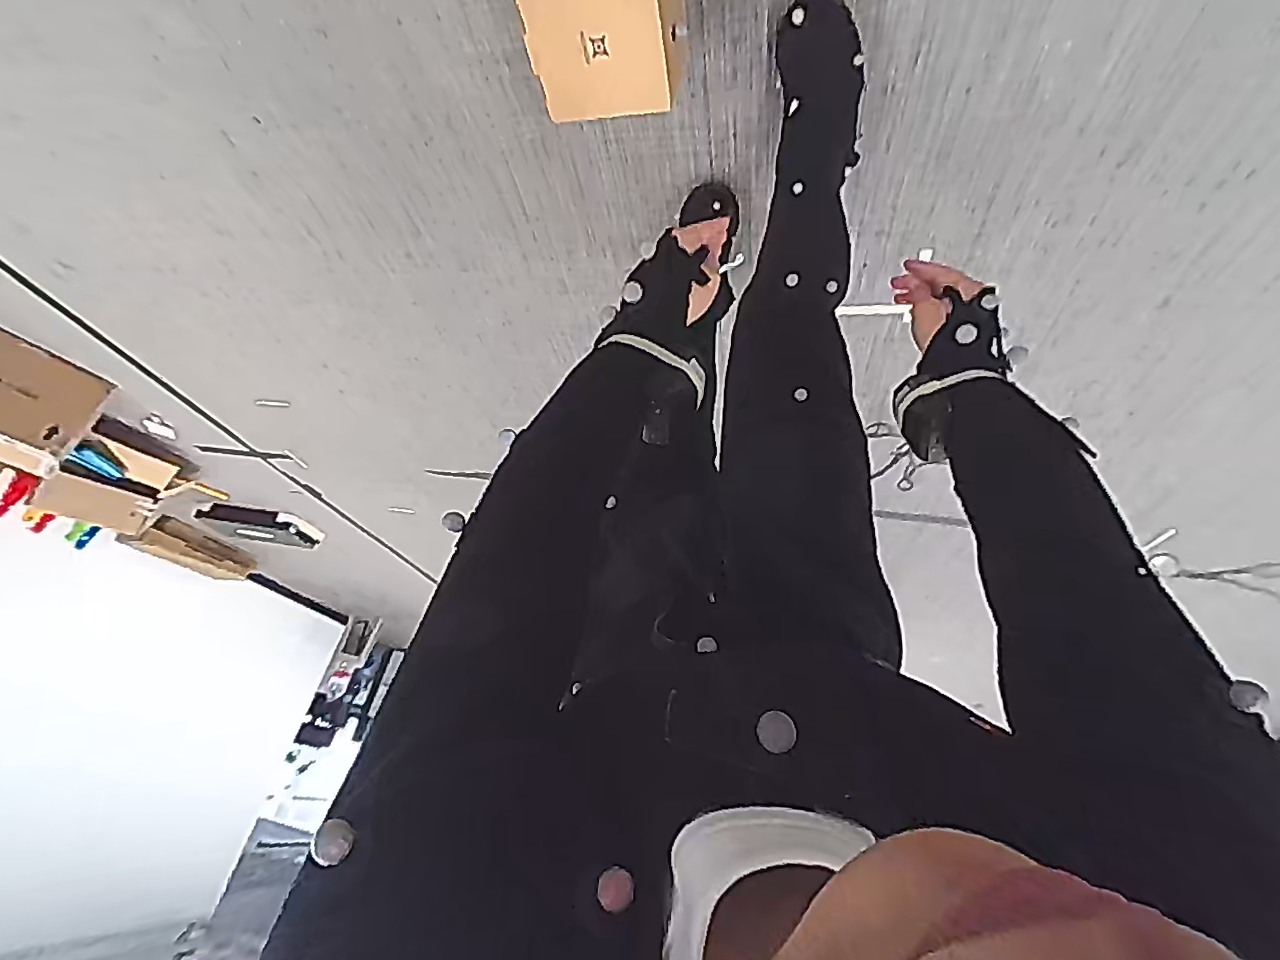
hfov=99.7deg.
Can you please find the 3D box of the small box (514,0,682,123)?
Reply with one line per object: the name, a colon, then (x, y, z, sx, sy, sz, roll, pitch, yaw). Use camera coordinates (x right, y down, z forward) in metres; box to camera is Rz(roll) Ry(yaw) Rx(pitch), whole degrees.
small box: (-0.043, -0.610, 0.715, 0.179, 0.176, 0.168, 5, 150, 14)
